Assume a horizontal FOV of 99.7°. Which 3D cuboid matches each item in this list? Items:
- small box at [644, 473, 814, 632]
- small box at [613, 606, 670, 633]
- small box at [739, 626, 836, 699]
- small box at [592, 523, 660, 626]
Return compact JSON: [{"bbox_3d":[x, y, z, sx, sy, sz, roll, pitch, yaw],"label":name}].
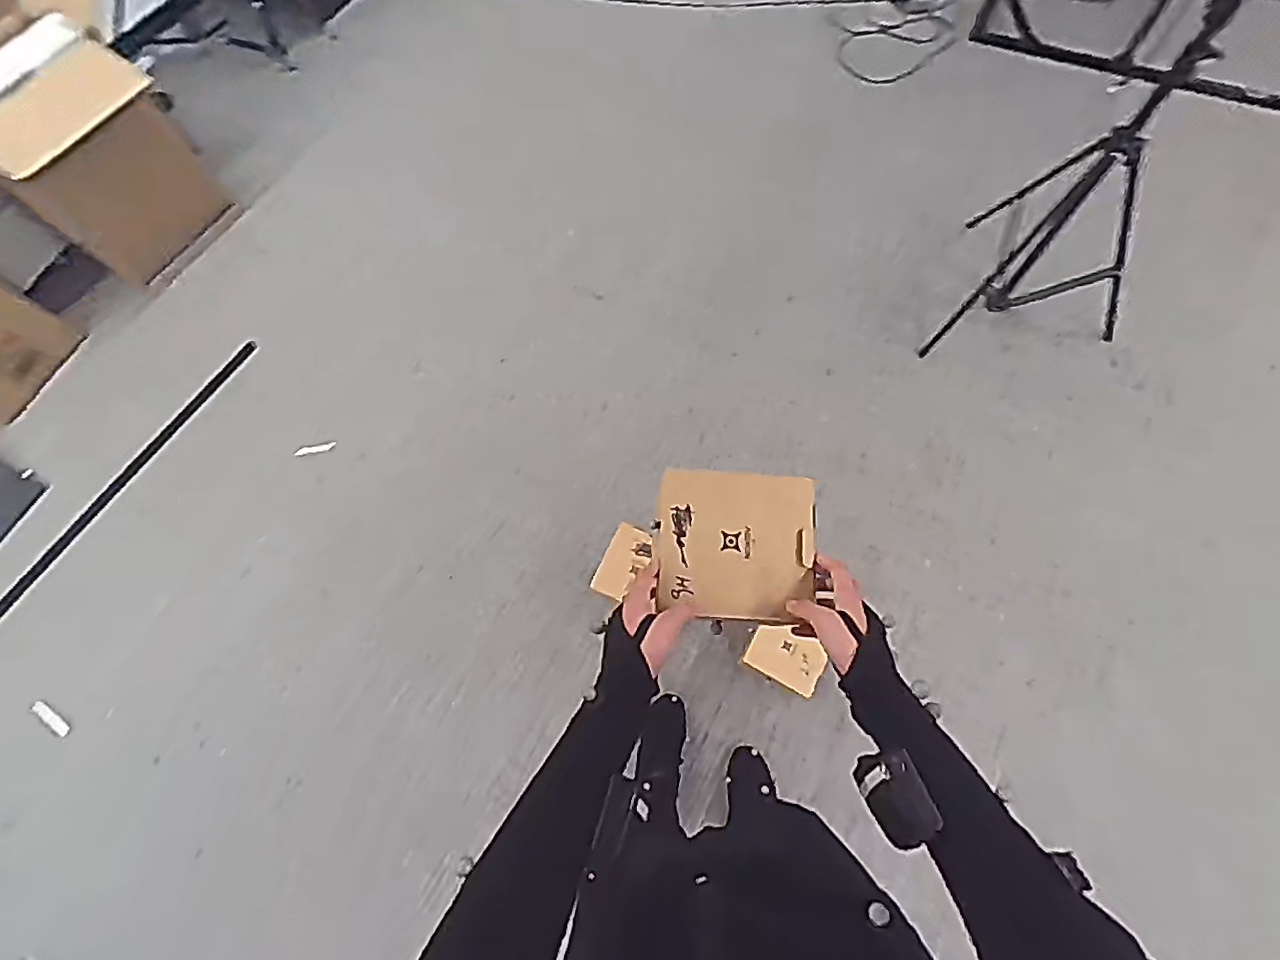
[{"bbox_3d":[0.102,0.098,0.677,0.179,0.176,0.168,5,74,-2],"label":"small box"},{"bbox_3d":[0.026,0.297,1.472,0.168,0.176,0.179,21,71,14],"label":"small box"},{"bbox_3d":[0.367,0.443,1.380,0.179,0.176,0.168,28,73,15],"label":"small box"},{"bbox_3d":[0.003,0.236,1.321,0.168,0.176,0.179,23,72,14],"label":"small box"}]
